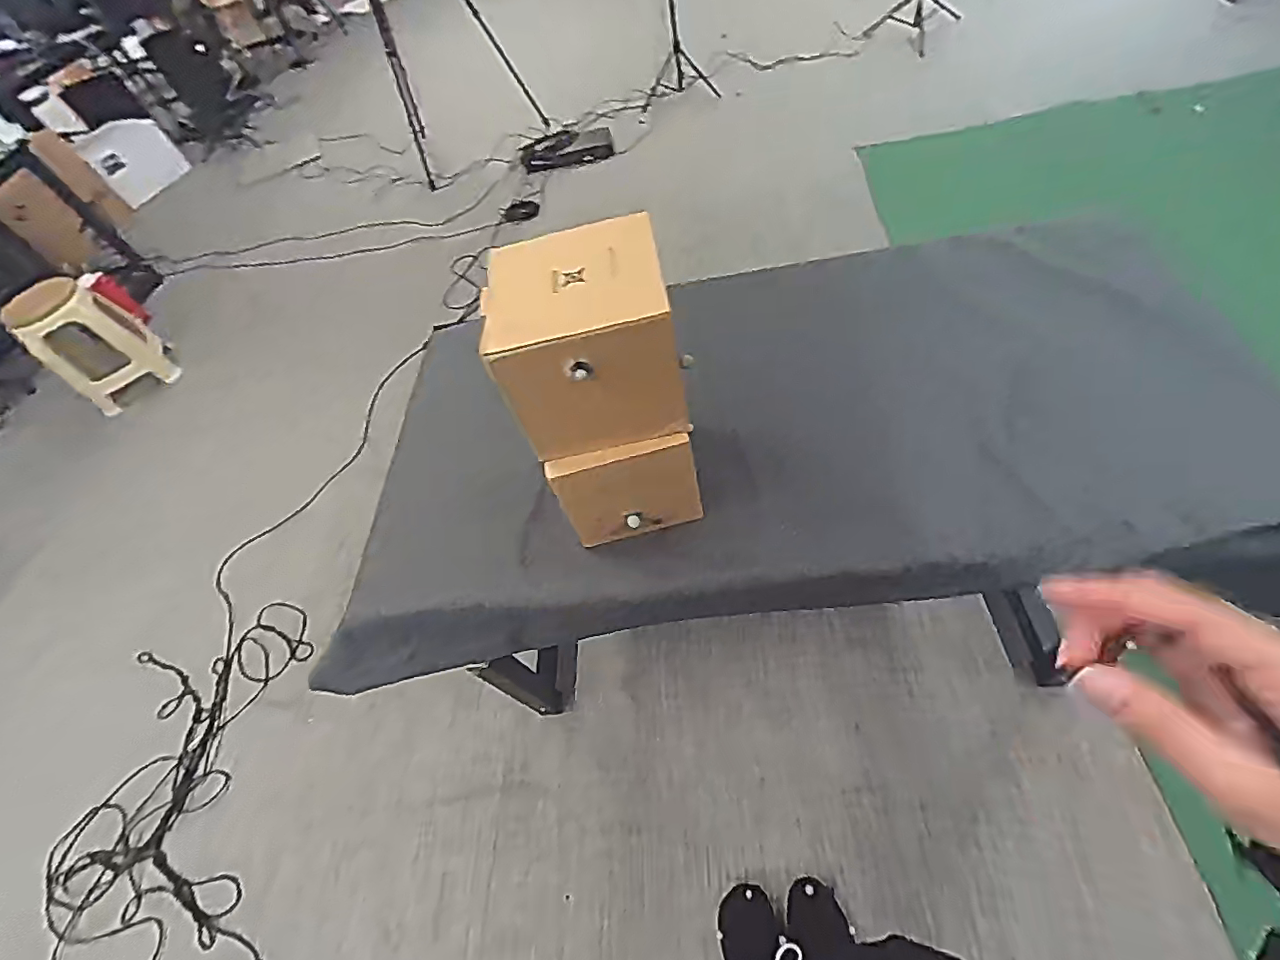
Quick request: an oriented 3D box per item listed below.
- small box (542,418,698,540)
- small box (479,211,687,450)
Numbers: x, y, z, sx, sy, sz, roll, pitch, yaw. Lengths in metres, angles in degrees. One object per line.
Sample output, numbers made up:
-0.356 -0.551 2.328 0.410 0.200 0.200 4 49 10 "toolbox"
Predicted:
-0.028 -0.048 0.709 0.168 0.176 0.179 -15 55 2 "small box"
-0.054 -0.151 0.585 0.179 0.176 0.168 -11 56 4 "small box"
